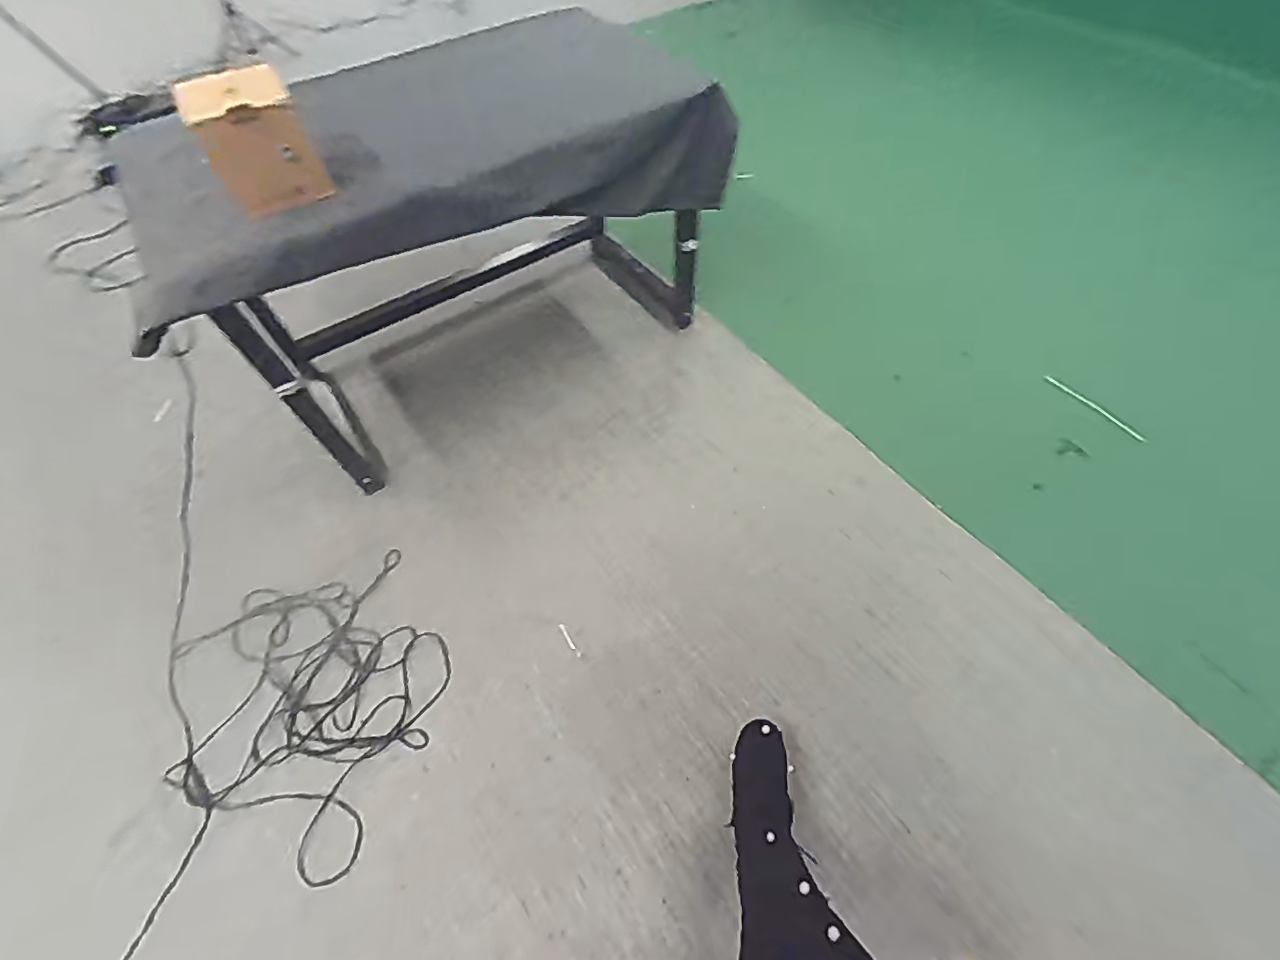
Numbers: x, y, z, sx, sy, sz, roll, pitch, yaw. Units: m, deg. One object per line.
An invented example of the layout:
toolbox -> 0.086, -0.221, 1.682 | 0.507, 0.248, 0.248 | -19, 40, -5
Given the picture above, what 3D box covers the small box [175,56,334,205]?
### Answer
small box -> -0.689, -0.626, 0.981 | 0.168, 0.176, 0.179 | -27, 59, -17
